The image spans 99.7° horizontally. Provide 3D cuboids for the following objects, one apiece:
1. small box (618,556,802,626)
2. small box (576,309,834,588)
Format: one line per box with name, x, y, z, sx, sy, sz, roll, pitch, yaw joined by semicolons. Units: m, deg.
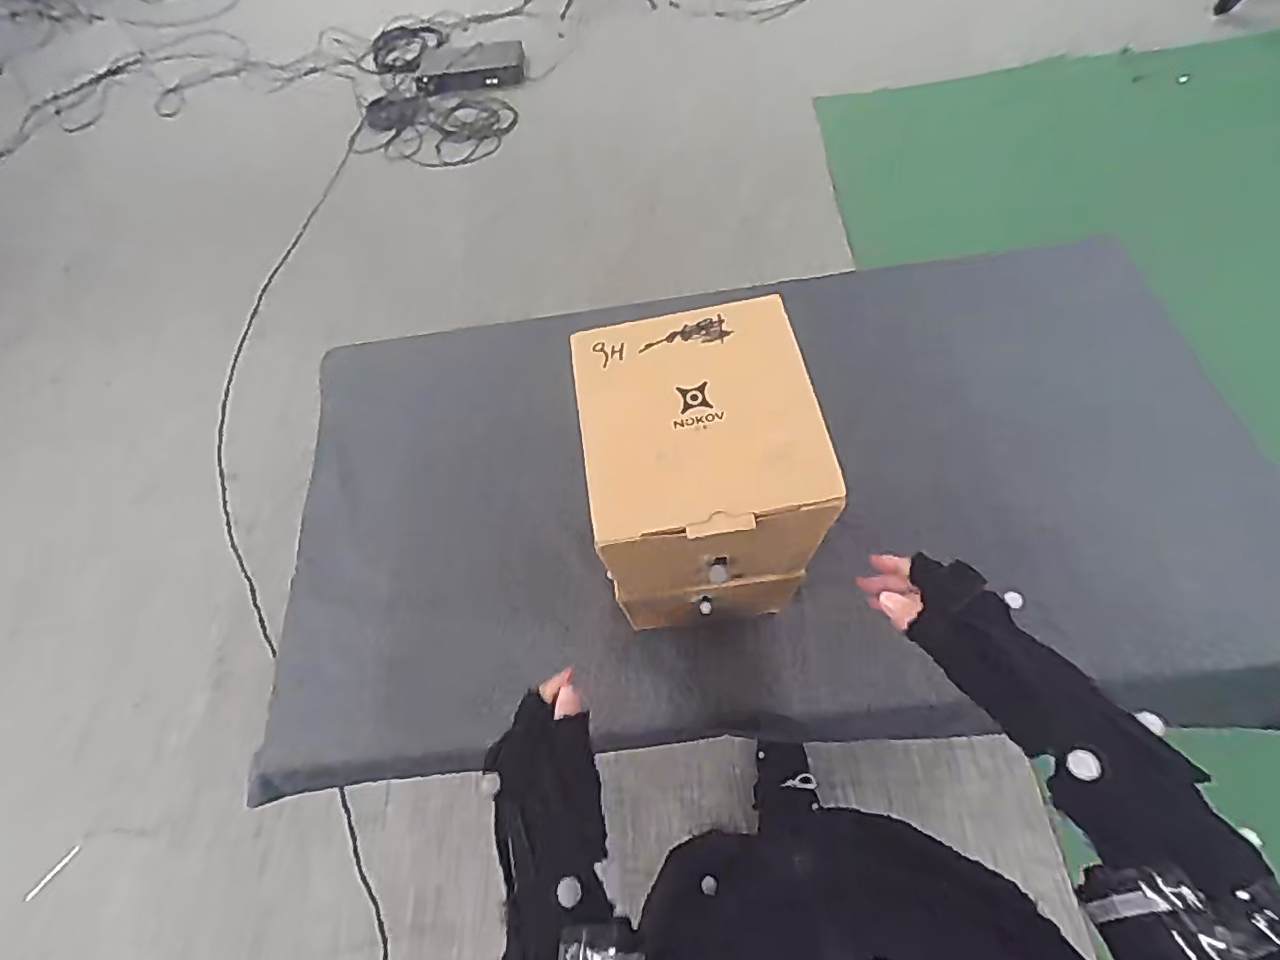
small box;0.065;0.062;0.613;0.179;0.176;0.168;-8;65;1
small box;0.048;-0.012;0.467;0.168;0.176;0.179;-10;65;2
